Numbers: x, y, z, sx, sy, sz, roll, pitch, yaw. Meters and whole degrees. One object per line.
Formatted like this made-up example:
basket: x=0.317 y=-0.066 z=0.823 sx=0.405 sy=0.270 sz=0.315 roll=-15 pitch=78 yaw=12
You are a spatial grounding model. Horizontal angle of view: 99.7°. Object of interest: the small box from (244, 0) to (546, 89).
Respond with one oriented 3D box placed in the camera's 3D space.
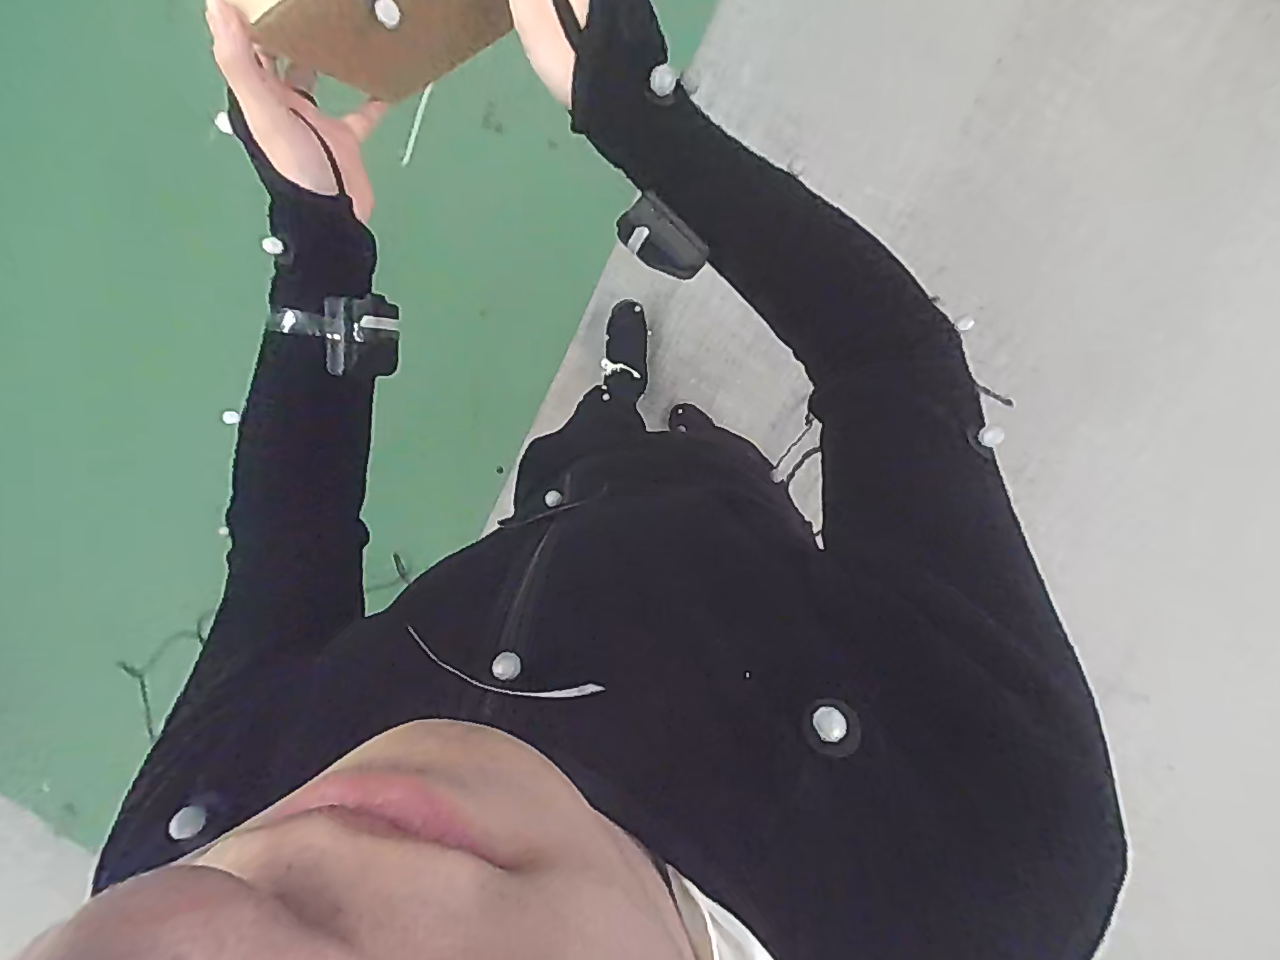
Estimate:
small box: x=-0.173 y=-0.405 z=0.356 sx=0.179 sy=0.176 sz=0.168 roll=-18 pitch=107 yaw=17
